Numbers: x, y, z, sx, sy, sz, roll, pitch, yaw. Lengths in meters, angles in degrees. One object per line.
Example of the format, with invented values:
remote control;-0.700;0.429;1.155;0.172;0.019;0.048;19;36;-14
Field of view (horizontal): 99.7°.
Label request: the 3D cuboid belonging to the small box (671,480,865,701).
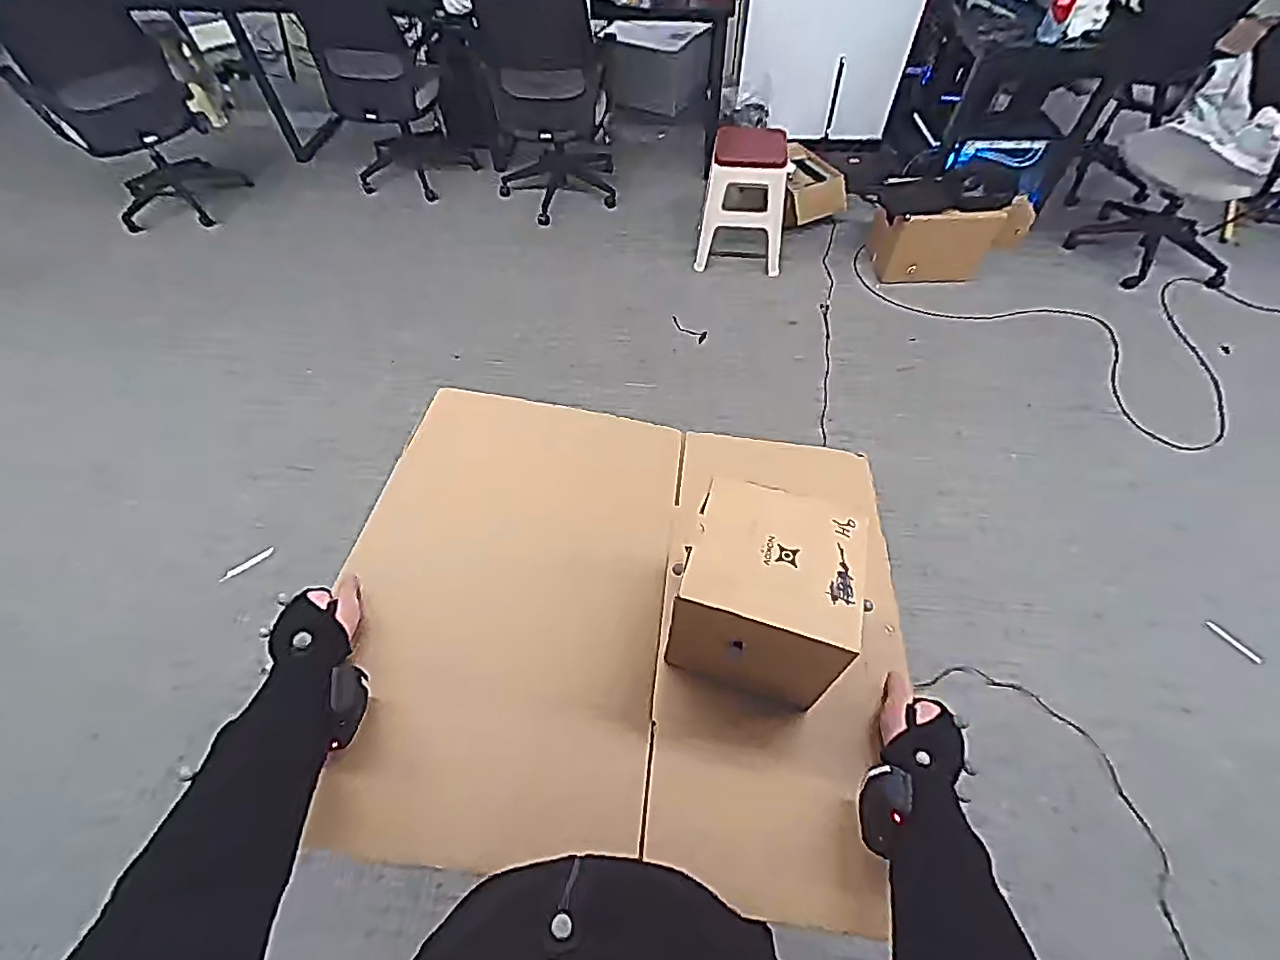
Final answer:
small box;0.139;0.130;0.621;0.179;0.176;0.168;15;52;11
